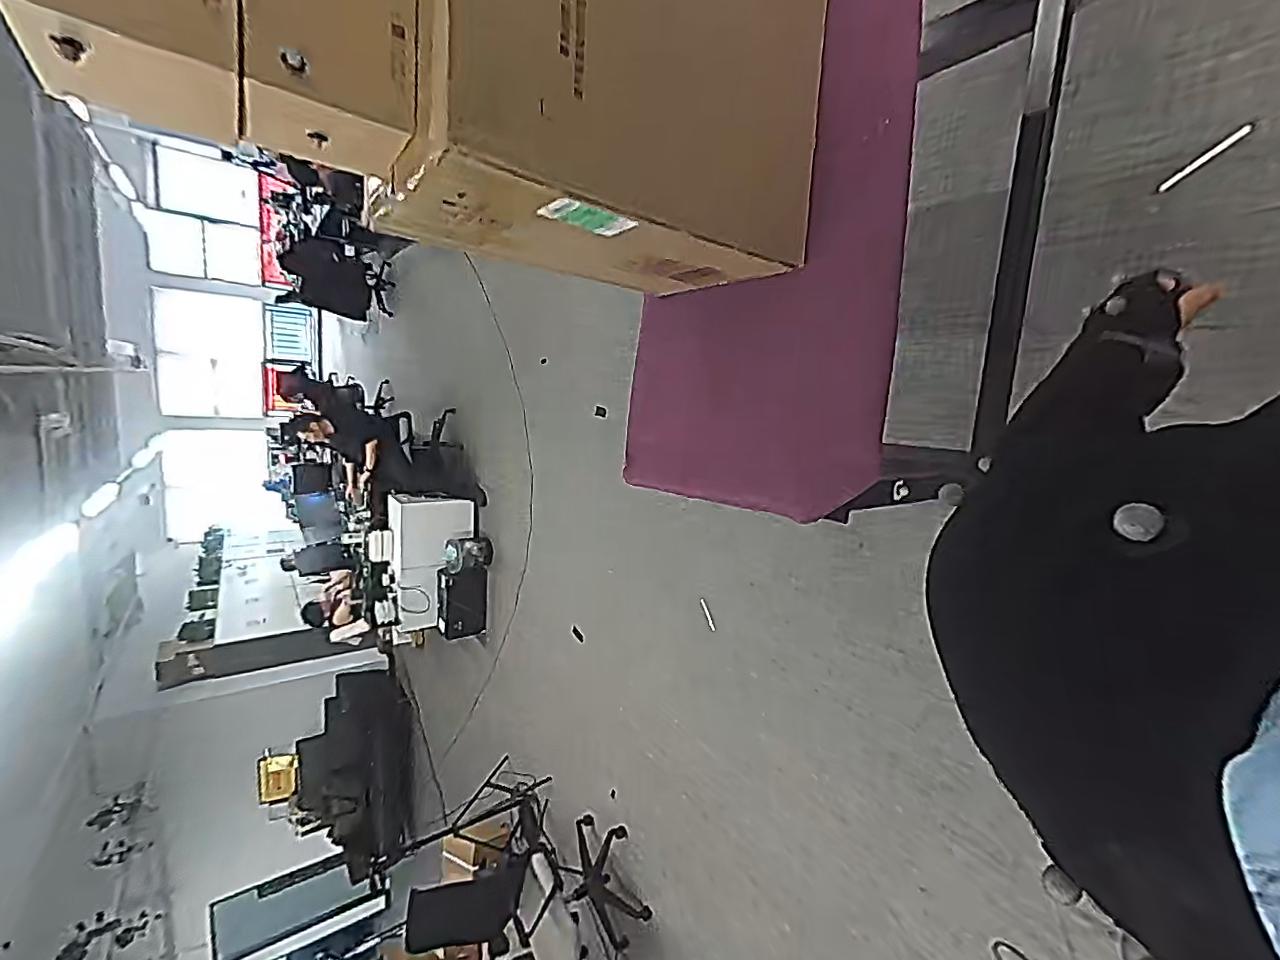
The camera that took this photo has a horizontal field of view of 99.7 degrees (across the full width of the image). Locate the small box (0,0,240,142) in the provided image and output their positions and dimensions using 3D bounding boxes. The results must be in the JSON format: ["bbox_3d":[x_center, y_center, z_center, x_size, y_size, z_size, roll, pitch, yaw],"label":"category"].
[{"bbox_3d":[-0.509,-0.481,0.539,0.179,0.176,0.168,7,96,54],"label":"small box"}]
